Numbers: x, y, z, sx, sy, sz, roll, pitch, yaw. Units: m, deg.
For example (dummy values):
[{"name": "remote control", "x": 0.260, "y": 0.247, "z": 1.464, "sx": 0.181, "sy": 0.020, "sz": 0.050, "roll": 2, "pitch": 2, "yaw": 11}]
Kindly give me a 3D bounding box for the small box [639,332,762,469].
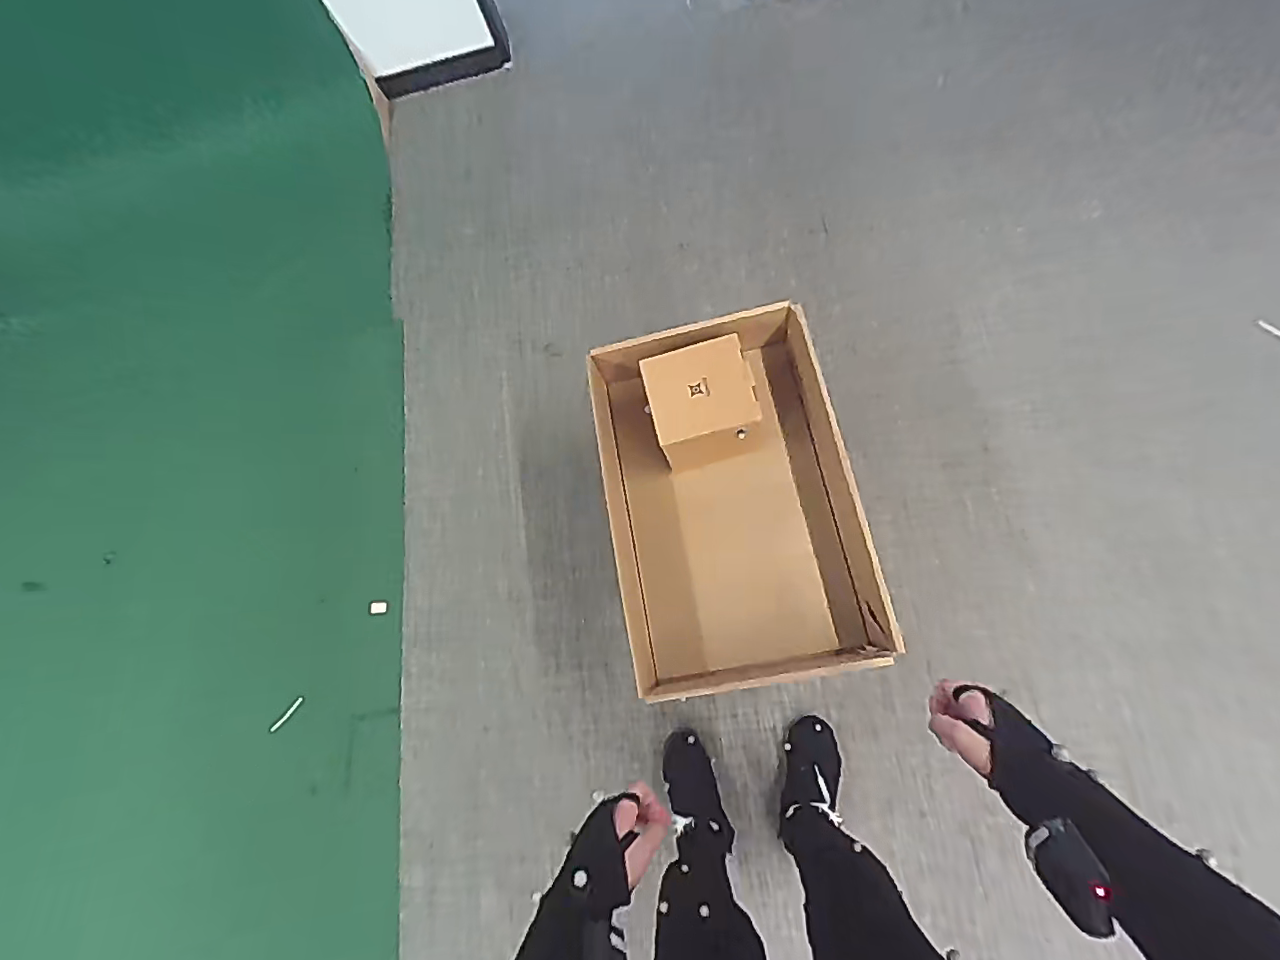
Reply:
[{"name": "small box", "x": 0.111, "y": -0.133, "z": 0.975, "sx": 0.179, "sy": 0.176, "sz": 0.168, "roll": -15, "pitch": 72, "yaw": 5}]
